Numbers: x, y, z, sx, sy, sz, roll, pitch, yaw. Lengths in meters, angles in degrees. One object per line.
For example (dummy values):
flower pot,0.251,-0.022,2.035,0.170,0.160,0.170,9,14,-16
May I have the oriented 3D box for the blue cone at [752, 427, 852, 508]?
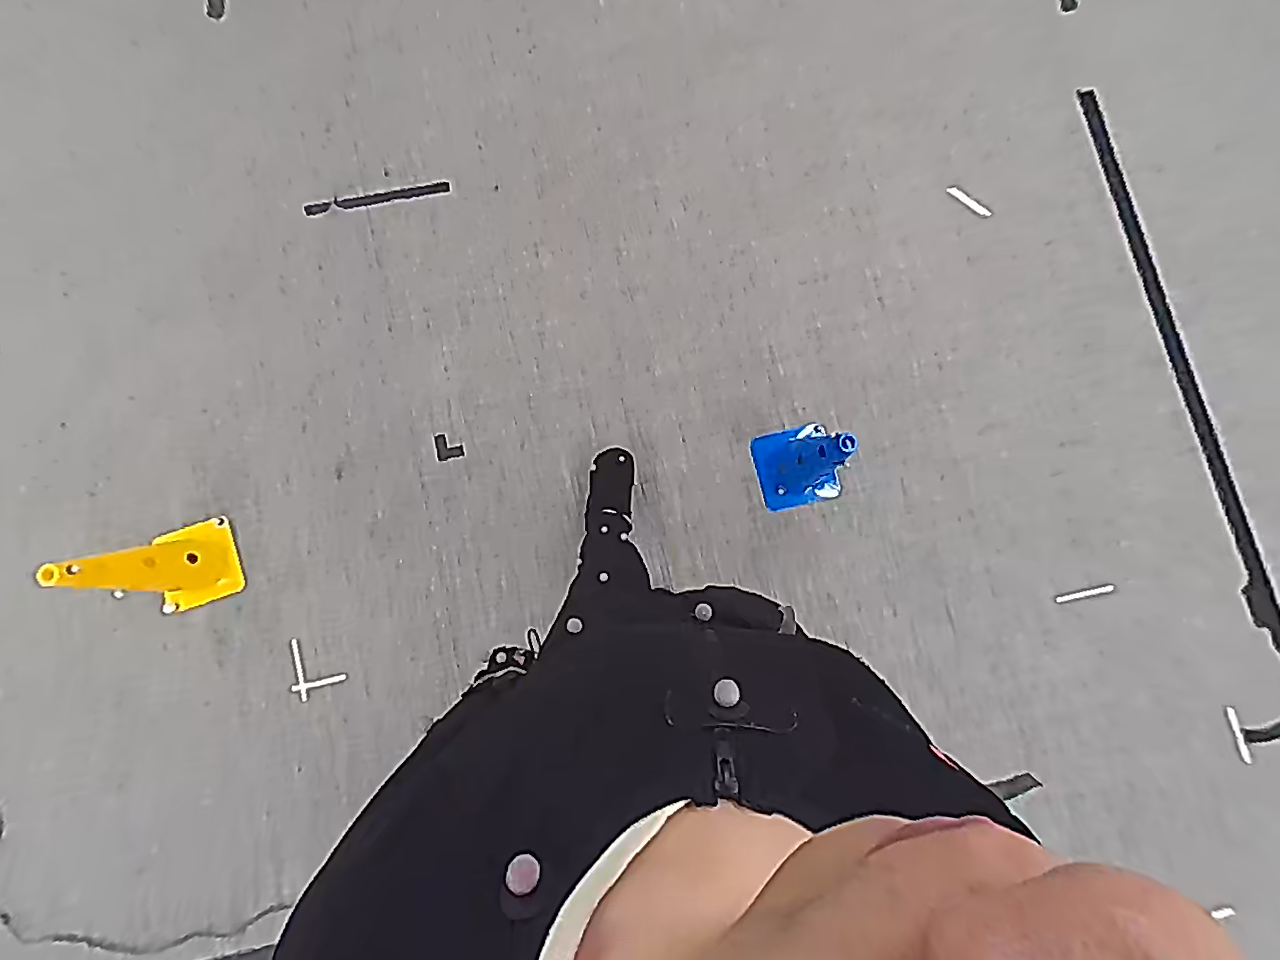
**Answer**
blue cone,0.396,-0.051,1.226,0.193,0.380,0.192,-12,83,-2
